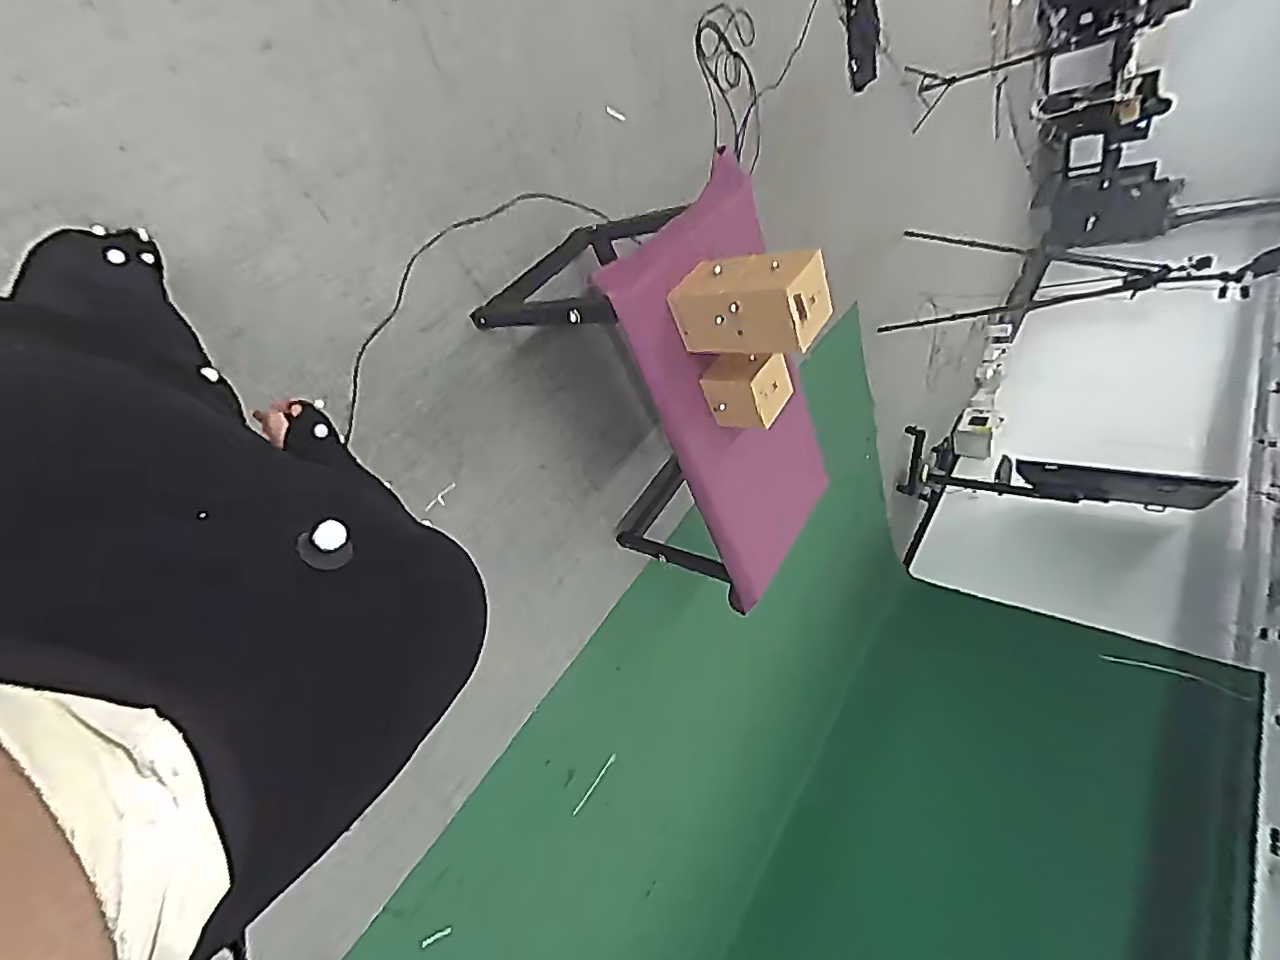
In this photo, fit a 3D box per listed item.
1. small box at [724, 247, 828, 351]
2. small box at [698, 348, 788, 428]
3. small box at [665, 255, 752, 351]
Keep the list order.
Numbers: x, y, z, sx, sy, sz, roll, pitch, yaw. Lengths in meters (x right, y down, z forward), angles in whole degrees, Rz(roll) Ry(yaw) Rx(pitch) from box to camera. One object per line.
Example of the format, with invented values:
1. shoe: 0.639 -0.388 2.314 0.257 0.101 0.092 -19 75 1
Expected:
1. small box: 0.314 -0.417 1.265 0.179 0.176 0.168 -52 133 -27
2. small box: 0.291 -0.271 1.525 0.179 0.176 0.168 -51 132 -26
3. small box: 0.192 -0.447 1.373 0.179 0.176 0.168 -52 132 -27
